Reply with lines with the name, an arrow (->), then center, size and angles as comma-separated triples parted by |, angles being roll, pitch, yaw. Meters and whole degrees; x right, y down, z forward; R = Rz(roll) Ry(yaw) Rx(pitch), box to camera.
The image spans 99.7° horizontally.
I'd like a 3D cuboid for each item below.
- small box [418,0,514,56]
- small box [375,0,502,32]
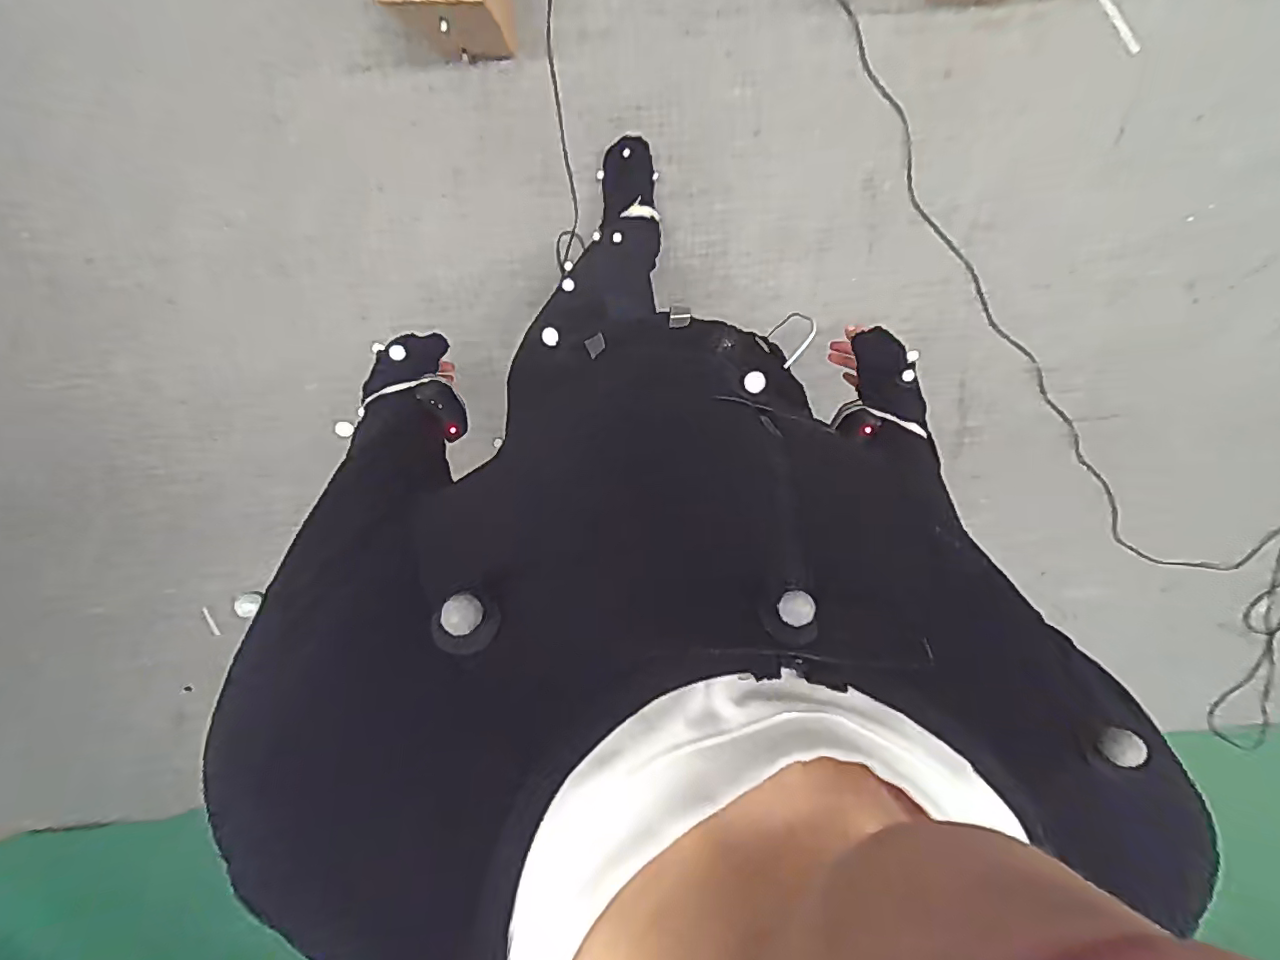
small box -> -0.329, -0.904, 0.981 | 0.168, 0.176, 0.179 | 1, 116, -2
small box -> -0.322, -0.835, 0.850 | 0.168, 0.176, 0.179 | -1, 115, -1
